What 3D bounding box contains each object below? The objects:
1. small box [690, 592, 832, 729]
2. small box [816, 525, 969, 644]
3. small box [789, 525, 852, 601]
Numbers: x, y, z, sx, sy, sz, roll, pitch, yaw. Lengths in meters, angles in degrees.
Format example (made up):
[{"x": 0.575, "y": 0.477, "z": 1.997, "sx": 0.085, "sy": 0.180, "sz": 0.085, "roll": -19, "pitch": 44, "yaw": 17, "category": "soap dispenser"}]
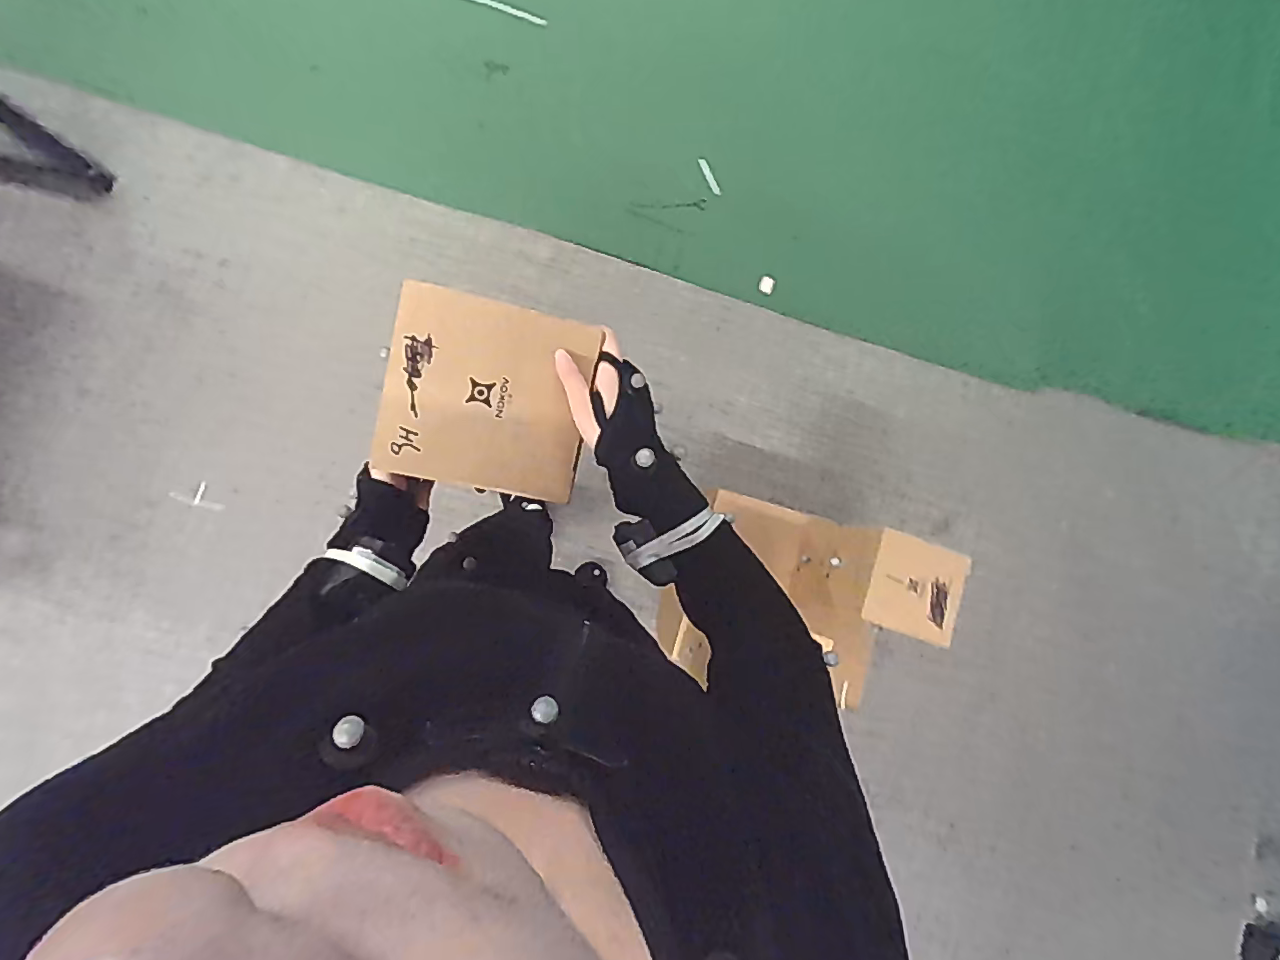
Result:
[{"x": 0.209, "y": 0.314, "z": 0.976, "sx": 0.179, "sy": 0.176, "sz": 0.168, "roll": 21, "pitch": 85, "yaw": -4, "category": "small box"}, {"x": 0.465, "y": 0.186, "z": 1.016, "sx": 0.179, "sy": 0.176, "sz": 0.168, "roll": 20, "pitch": 83, "yaw": -6, "category": "small box"}, {"x": 0.457, "y": 0.197, "z": 1.181, "sx": 0.179, "sy": 0.176, "sz": 0.168, "roll": 18, "pitch": 83, "yaw": -7, "category": "small box"}]
